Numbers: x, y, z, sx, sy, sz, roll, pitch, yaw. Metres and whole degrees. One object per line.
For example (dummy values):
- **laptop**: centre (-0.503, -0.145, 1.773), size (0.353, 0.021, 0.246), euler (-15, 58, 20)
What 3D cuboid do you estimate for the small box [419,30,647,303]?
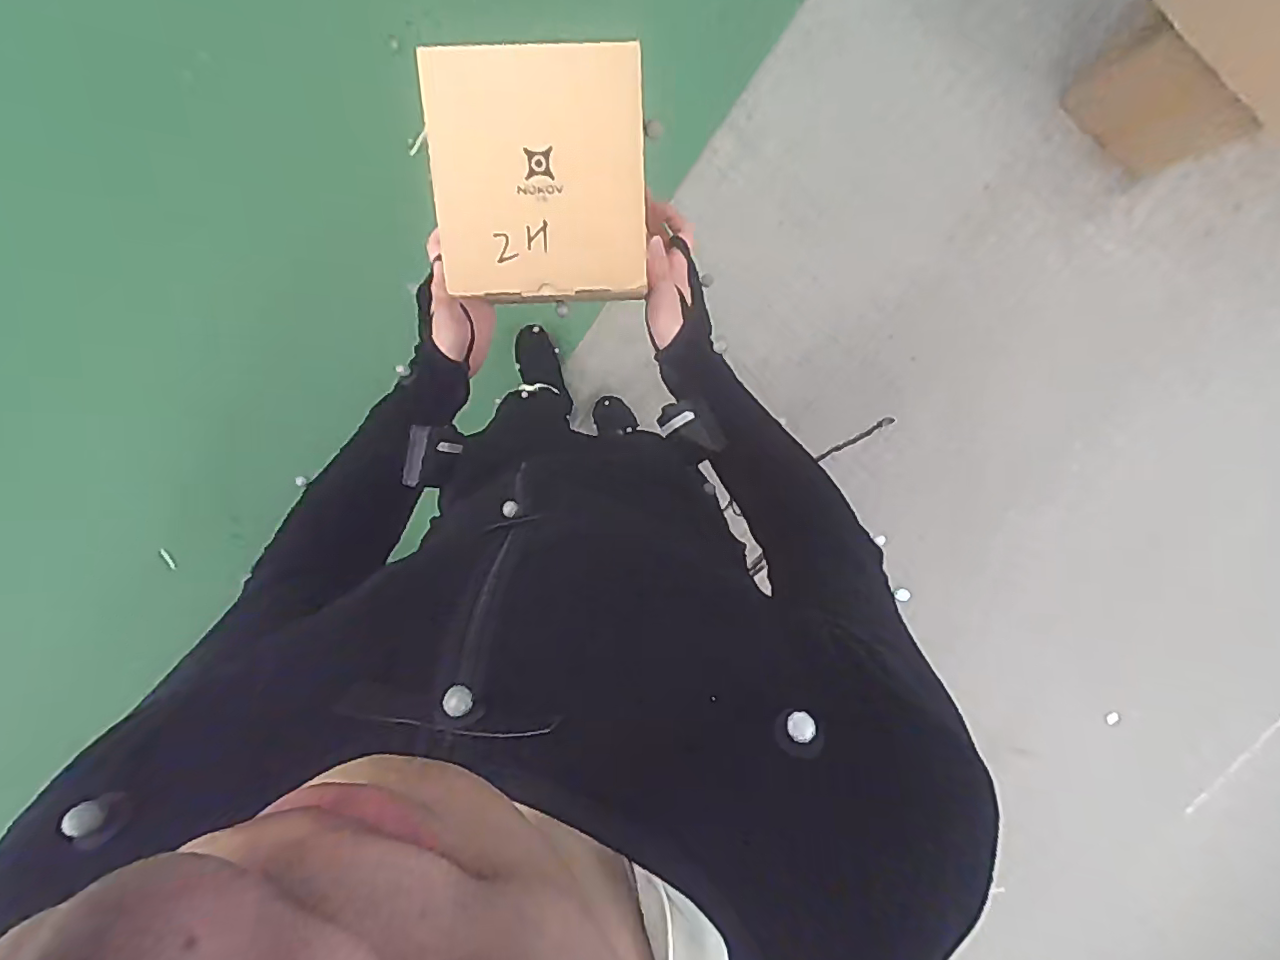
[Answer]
- **small box**: centre (-0.079, -0.256, 0.484), size (0.168, 0.176, 0.179), euler (-1, 105, -1)
